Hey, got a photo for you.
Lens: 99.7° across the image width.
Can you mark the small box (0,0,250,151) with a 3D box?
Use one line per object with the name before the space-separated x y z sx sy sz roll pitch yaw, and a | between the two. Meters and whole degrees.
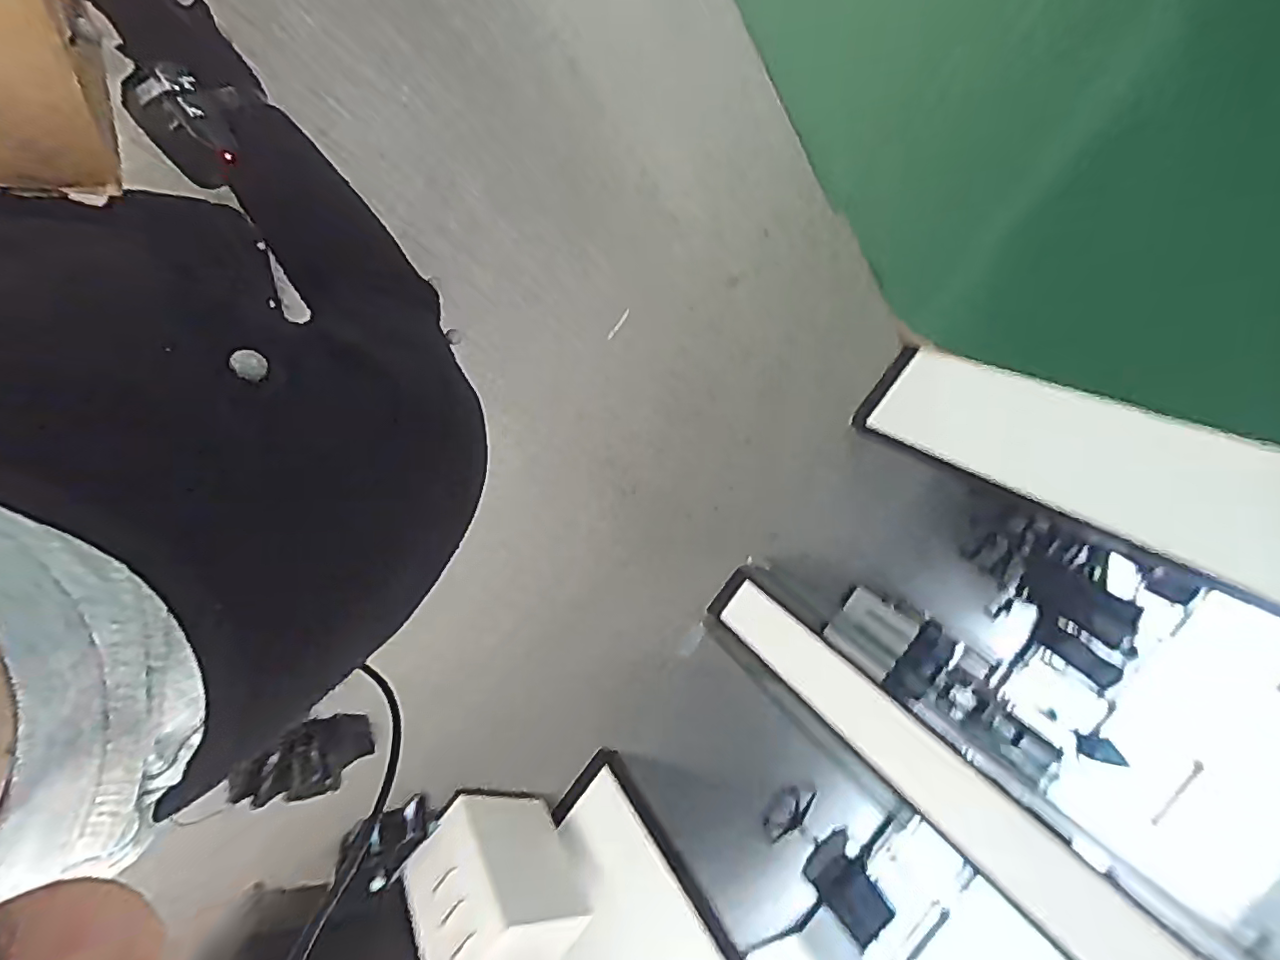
small box | -0.369 -0.354 0.325 0.176 0.168 0.179 -52 163 20
